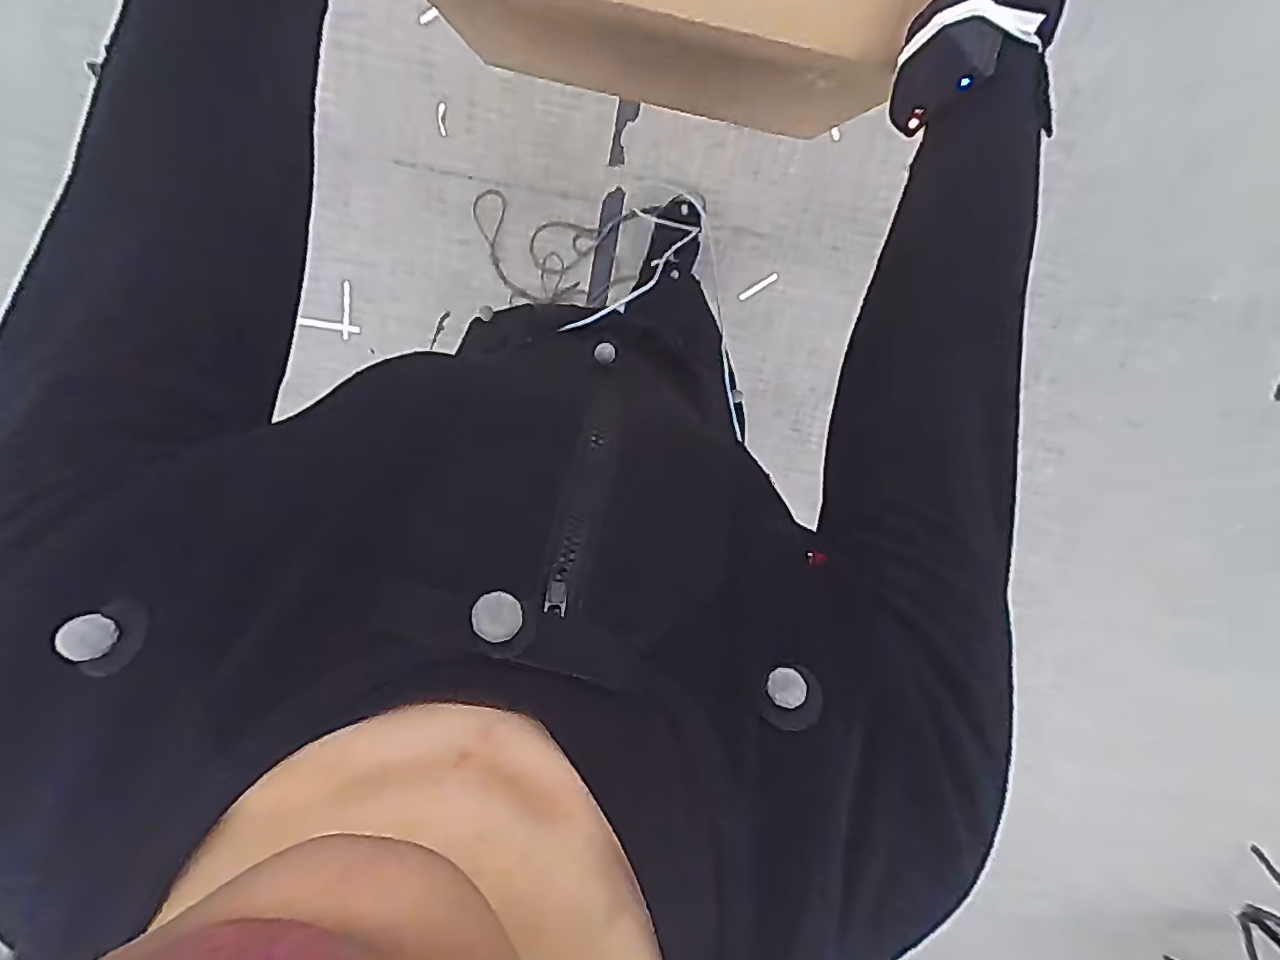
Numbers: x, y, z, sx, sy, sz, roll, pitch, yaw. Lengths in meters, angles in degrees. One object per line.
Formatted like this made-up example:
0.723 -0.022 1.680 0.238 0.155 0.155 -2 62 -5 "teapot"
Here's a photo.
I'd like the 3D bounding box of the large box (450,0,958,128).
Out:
0.049 -0.537 0.455 0.408 0.320 0.320 10 115 -5 "large box"
